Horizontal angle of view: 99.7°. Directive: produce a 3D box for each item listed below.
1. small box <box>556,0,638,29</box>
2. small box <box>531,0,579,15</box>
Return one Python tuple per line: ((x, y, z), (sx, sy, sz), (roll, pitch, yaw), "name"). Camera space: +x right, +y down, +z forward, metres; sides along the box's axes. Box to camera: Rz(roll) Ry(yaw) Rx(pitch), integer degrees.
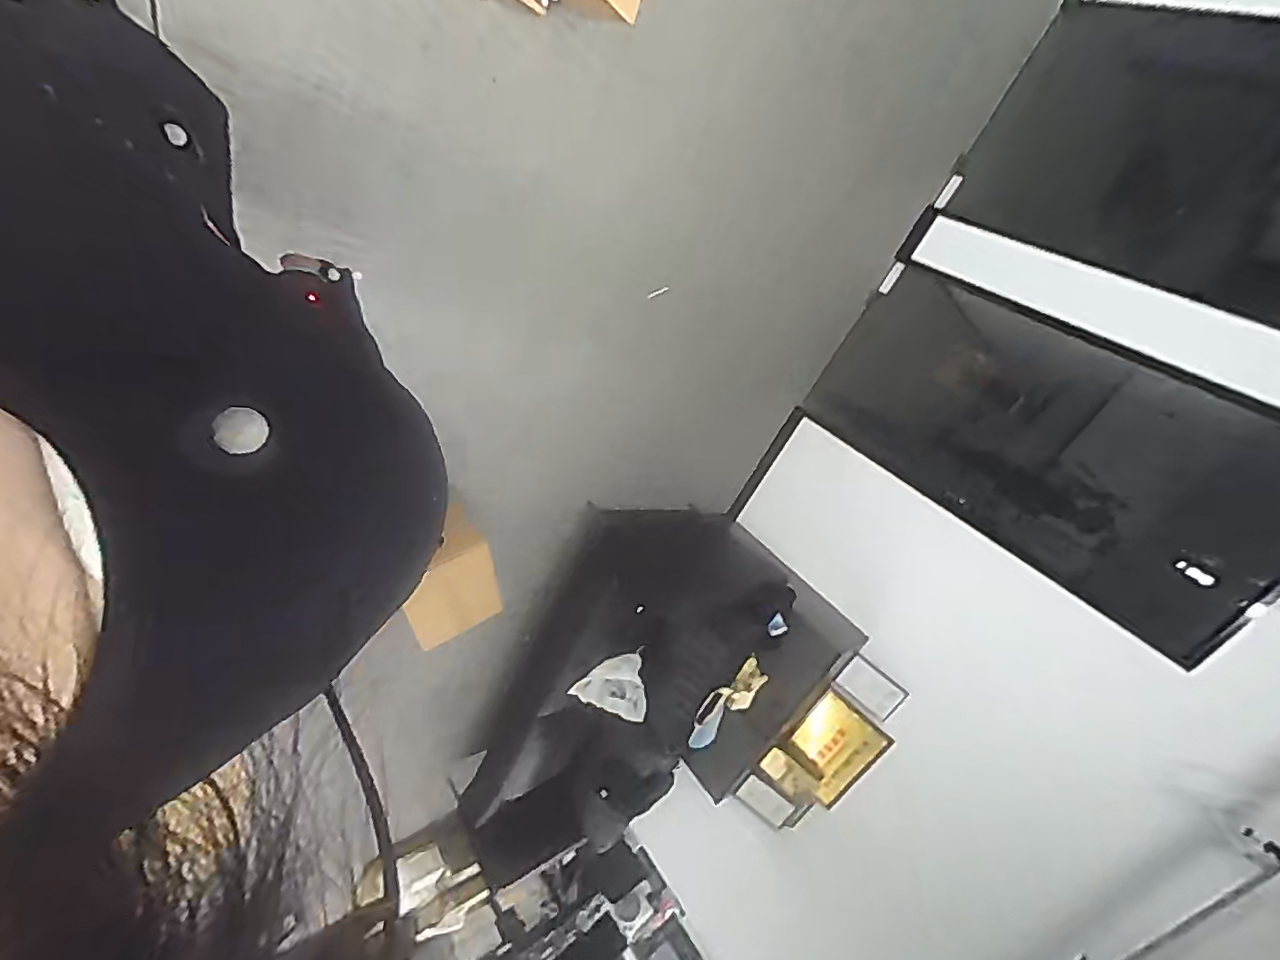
((-0.092, -0.900, 0.891), (0.179, 0.176, 0.168), (1, 125, -49), "small box")
((-0.184, -1.001, 0.982), (0.179, 0.176, 0.168), (2, 123, -47), "small box")
